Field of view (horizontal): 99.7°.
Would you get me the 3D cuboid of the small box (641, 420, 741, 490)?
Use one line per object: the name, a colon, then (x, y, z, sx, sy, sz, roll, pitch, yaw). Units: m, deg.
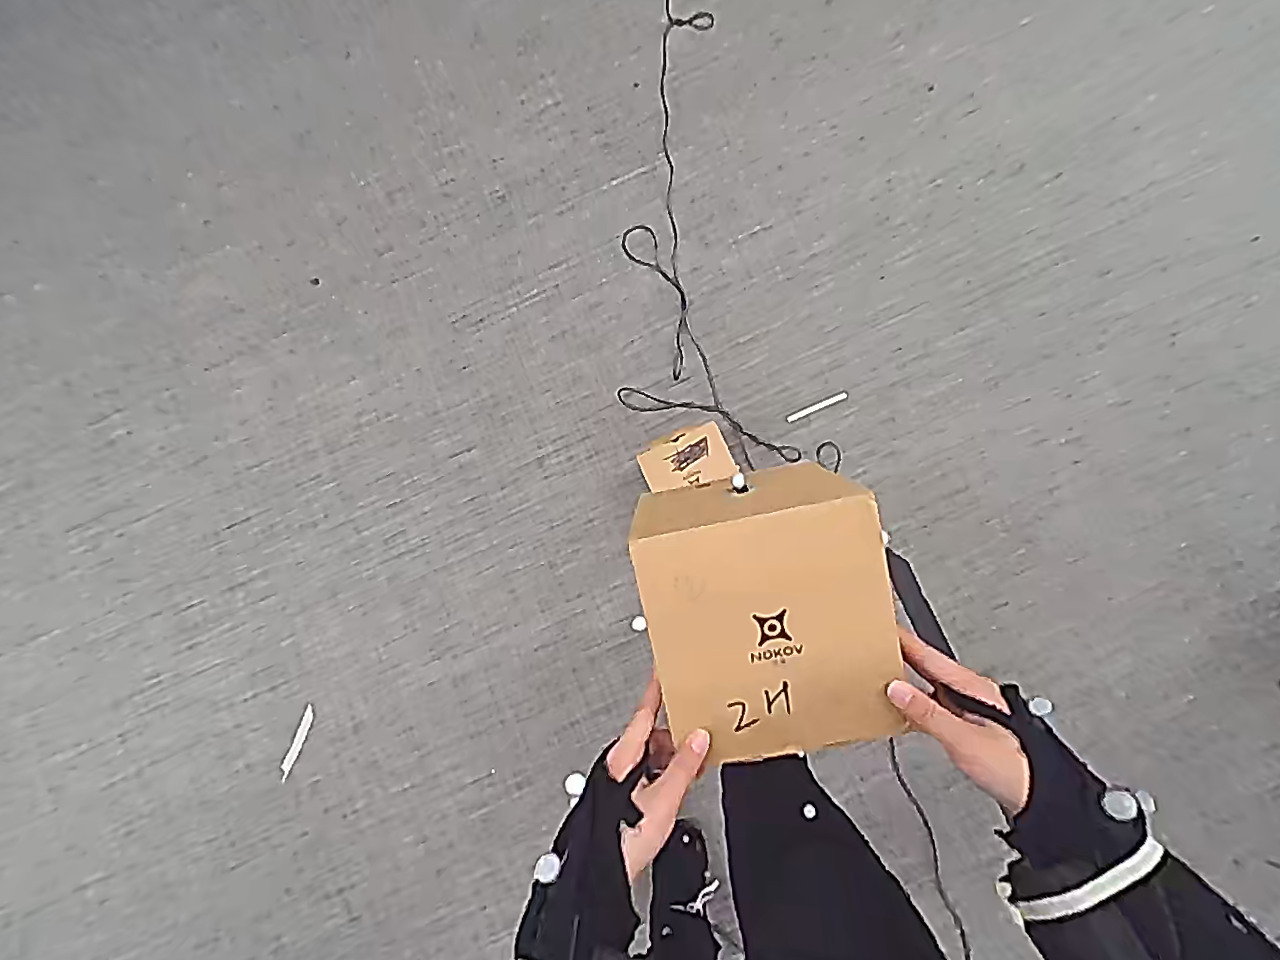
small box: (0.111, 0.006, 1.076, 0.168, 0.176, 0.179, -24, 83, 1)

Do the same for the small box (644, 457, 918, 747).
small box: (0.100, 0.081, 0.447, 0.168, 0.176, 0.179, -11, 98, 5)
